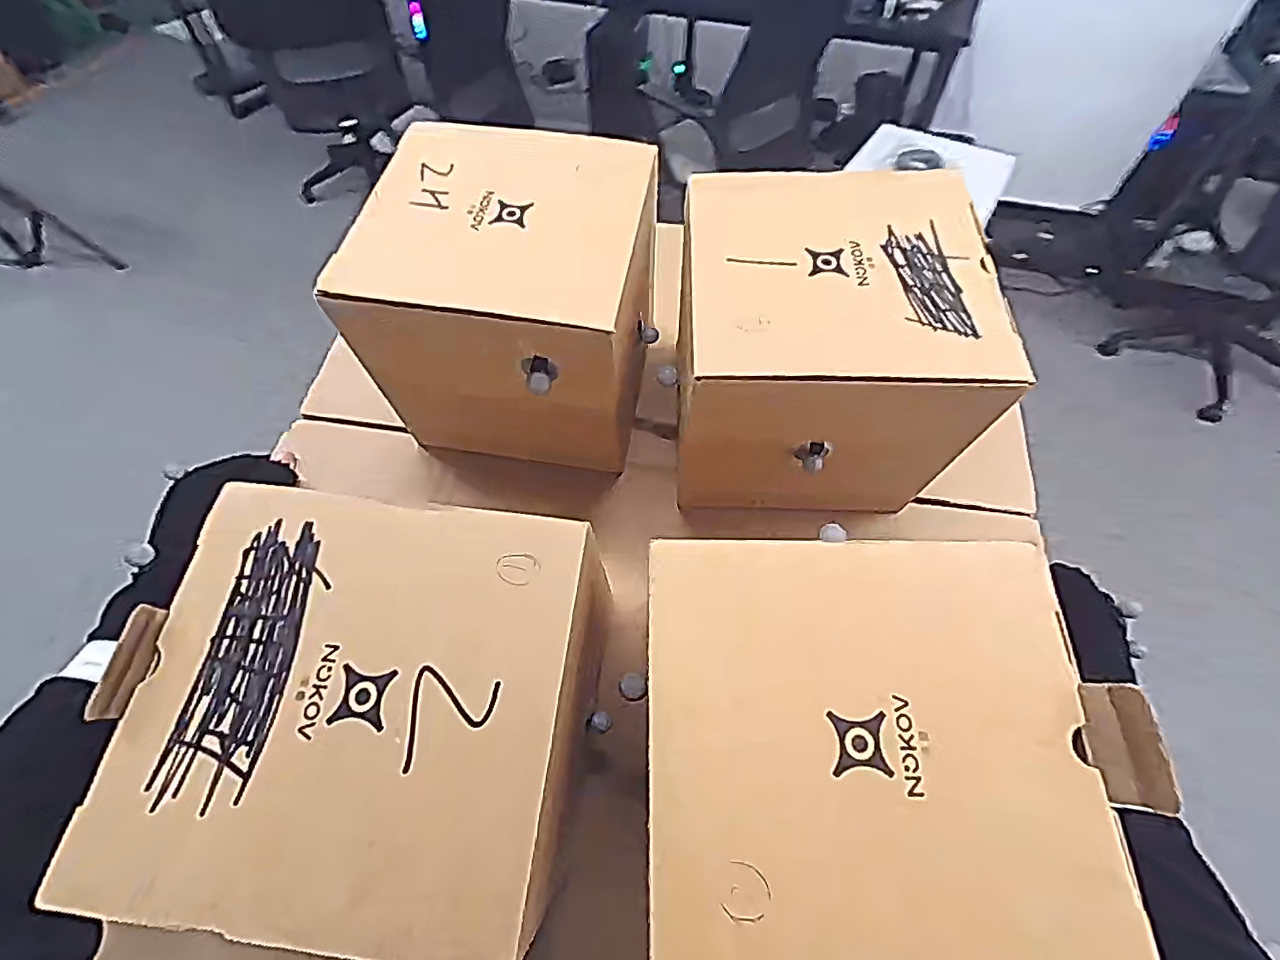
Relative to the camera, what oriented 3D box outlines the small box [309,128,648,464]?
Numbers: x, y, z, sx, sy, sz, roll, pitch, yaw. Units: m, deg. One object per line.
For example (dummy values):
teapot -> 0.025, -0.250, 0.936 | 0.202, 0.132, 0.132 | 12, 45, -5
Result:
small box -> -0.094, -0.128, 0.413 | 0.179, 0.176, 0.168 | 9, 63, 5
